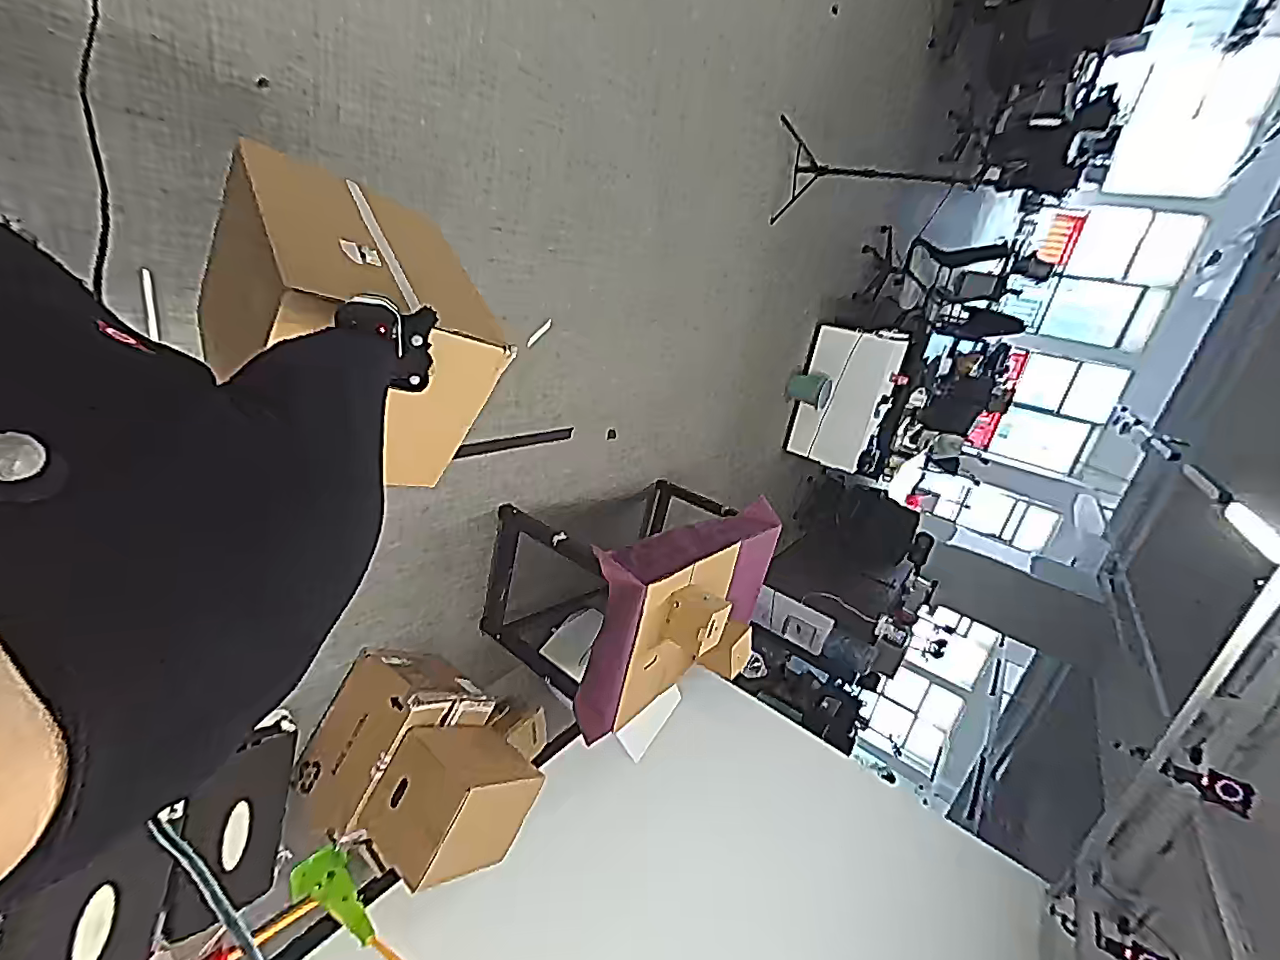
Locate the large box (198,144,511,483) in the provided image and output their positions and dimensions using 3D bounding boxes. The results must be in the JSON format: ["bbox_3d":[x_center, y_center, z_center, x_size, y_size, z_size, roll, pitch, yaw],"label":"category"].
[{"bbox_3d":[-0.486,-0.246,0.895,0.320,0.408,0.320,3,136,-49],"label":"large box"}]
